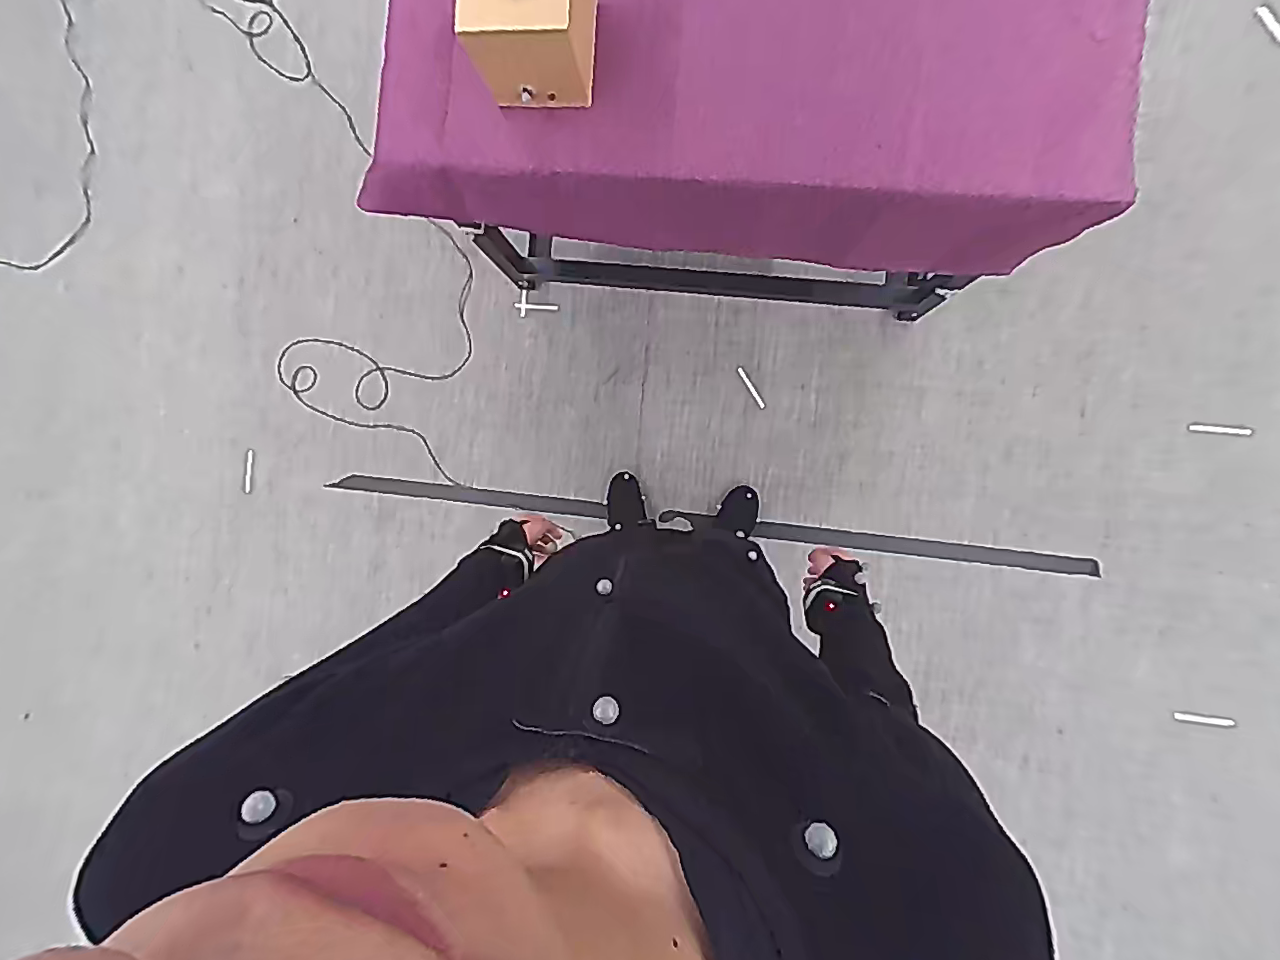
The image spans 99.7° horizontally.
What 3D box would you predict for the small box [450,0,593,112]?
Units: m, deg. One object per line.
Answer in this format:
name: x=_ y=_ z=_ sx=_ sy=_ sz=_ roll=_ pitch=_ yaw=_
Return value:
small box: x=-0.169 y=-0.703 z=0.822 sx=0.168 sy=0.176 sz=0.179 roll=4 pitch=92 yaw=6
